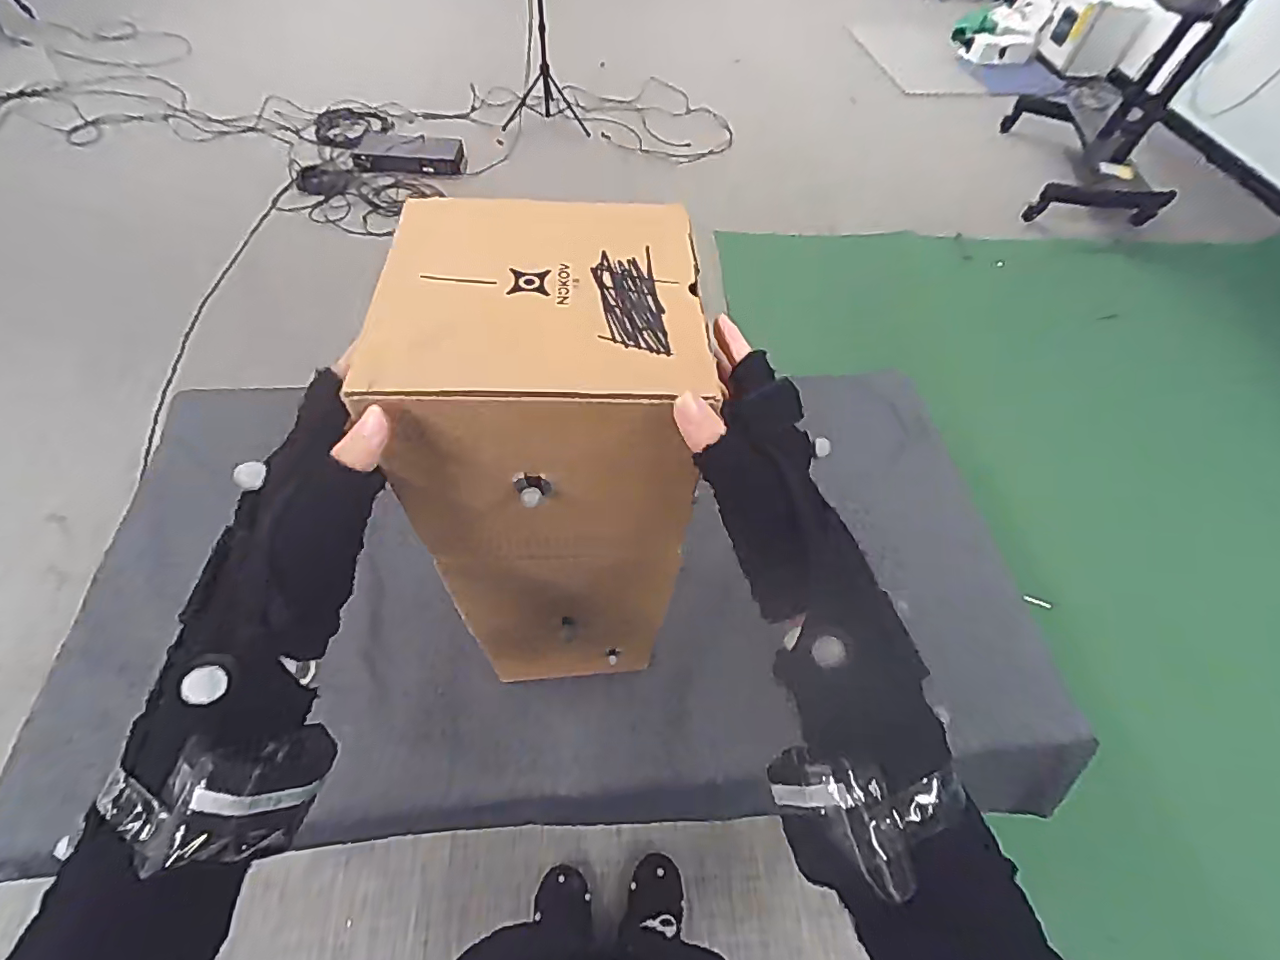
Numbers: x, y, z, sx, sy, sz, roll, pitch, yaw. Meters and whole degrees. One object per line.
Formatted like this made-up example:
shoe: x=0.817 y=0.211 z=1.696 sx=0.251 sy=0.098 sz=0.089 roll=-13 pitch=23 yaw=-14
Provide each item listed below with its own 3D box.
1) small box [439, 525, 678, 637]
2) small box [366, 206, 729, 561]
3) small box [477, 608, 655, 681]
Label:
small box: x=-0.070 y=0.038 z=0.502 sx=0.179 sy=0.176 sz=0.168 roll=-1 pitch=55 yaw=-7
small box: x=-0.057 y=-0.055 z=0.367 sx=0.179 sy=0.176 sz=0.168 roll=-2 pitch=56 yaw=-9
small box: x=-0.084 y=0.127 z=0.639 sx=0.179 sy=0.176 sz=0.168 roll=-4 pitch=56 yaw=-6
